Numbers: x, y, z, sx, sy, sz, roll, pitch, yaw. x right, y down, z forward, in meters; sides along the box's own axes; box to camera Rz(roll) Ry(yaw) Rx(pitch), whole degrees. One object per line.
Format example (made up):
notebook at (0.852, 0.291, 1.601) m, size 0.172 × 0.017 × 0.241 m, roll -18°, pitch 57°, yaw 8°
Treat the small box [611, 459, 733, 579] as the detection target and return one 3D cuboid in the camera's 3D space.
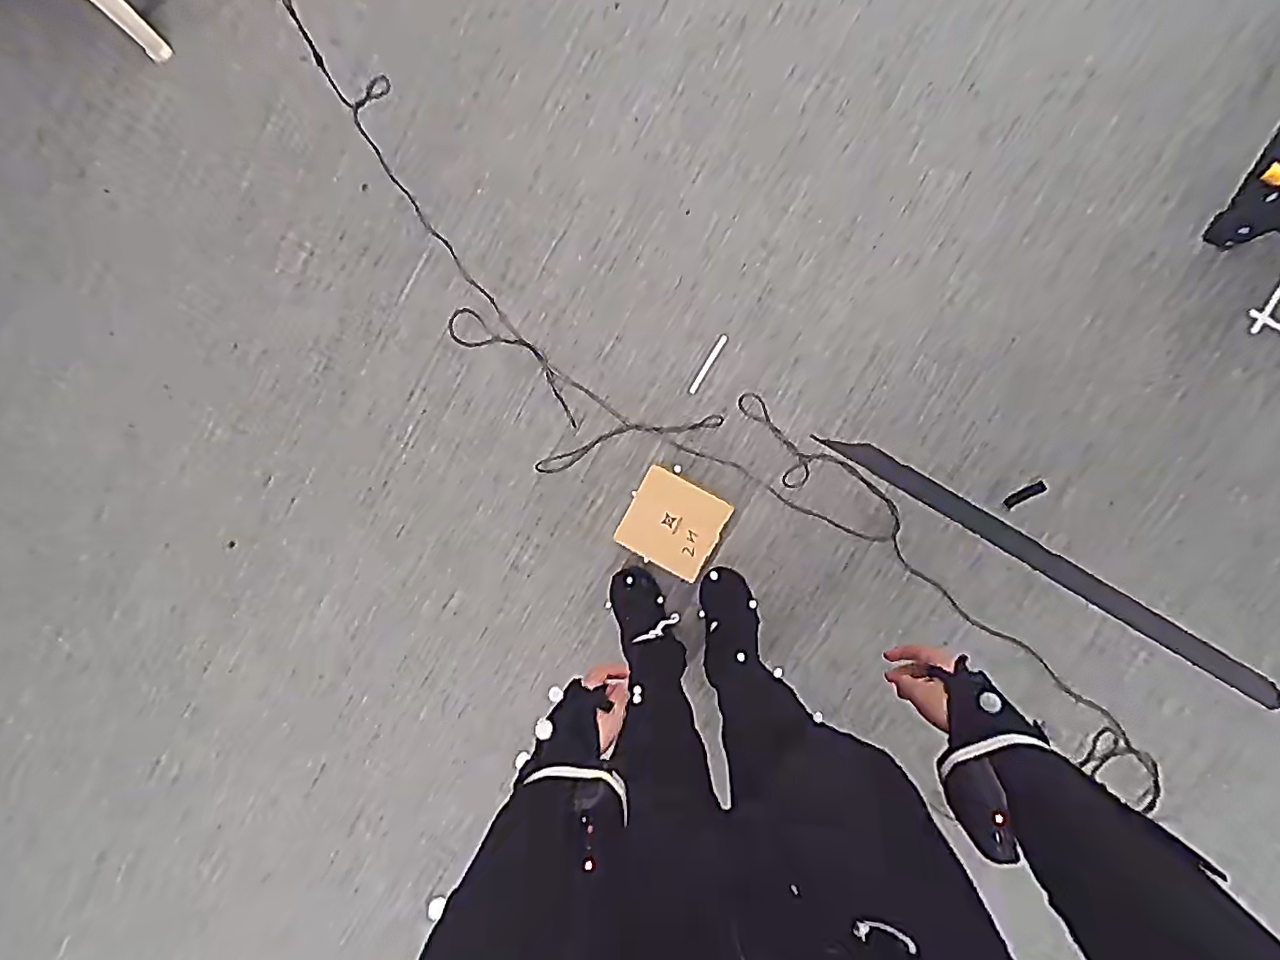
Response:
small box at (0.065, 0.071, 1.074) m, size 0.179 × 0.176 × 0.168 m, roll 29°, pitch 95°, yaw 4°
